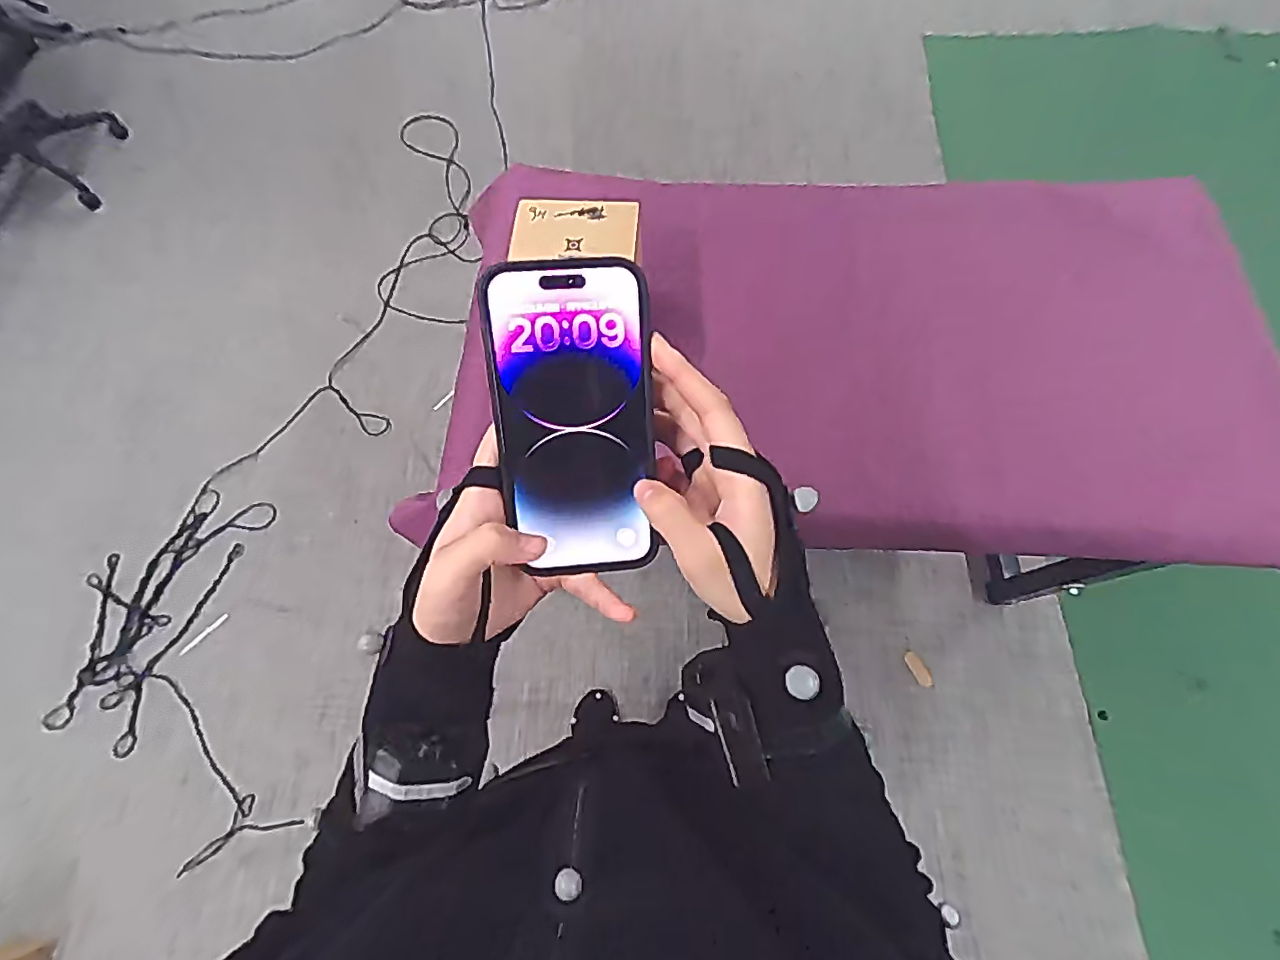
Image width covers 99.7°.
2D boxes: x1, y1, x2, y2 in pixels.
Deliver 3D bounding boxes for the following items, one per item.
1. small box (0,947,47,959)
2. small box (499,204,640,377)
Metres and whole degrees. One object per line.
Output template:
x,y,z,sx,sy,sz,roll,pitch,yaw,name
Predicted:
-1.363,1.069,1.075,0.179,0.176,0.168,-7,68,0,small box
-0.089,-0.264,0.779,0.168,0.176,0.179,3,69,3,small box
